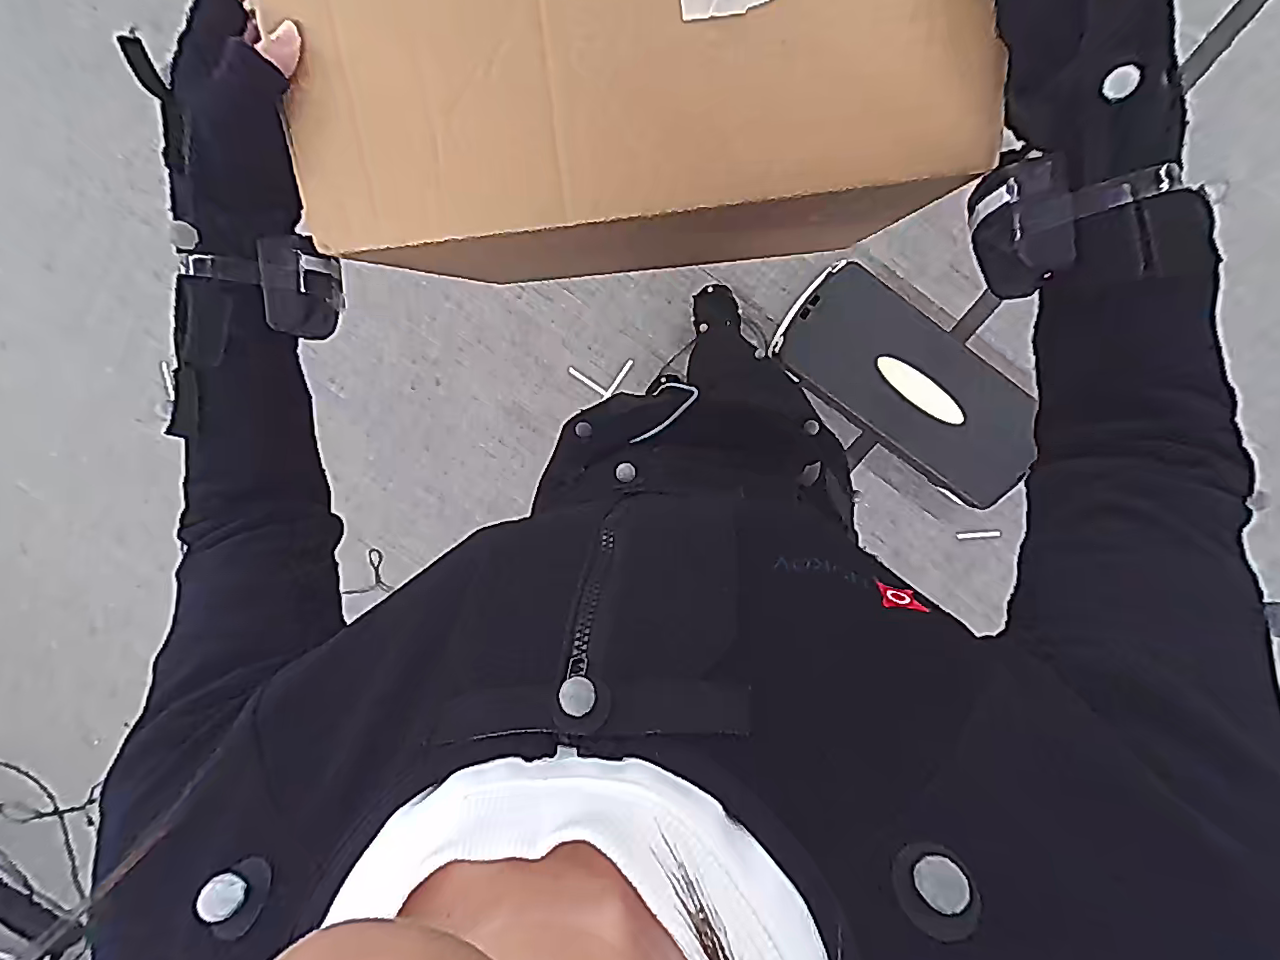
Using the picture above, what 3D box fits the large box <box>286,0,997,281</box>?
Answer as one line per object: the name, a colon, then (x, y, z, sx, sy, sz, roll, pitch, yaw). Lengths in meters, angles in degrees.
large box: (-0.001, -0.356, 0.433, 0.408, 0.320, 0.320, -4, 106, 7)
